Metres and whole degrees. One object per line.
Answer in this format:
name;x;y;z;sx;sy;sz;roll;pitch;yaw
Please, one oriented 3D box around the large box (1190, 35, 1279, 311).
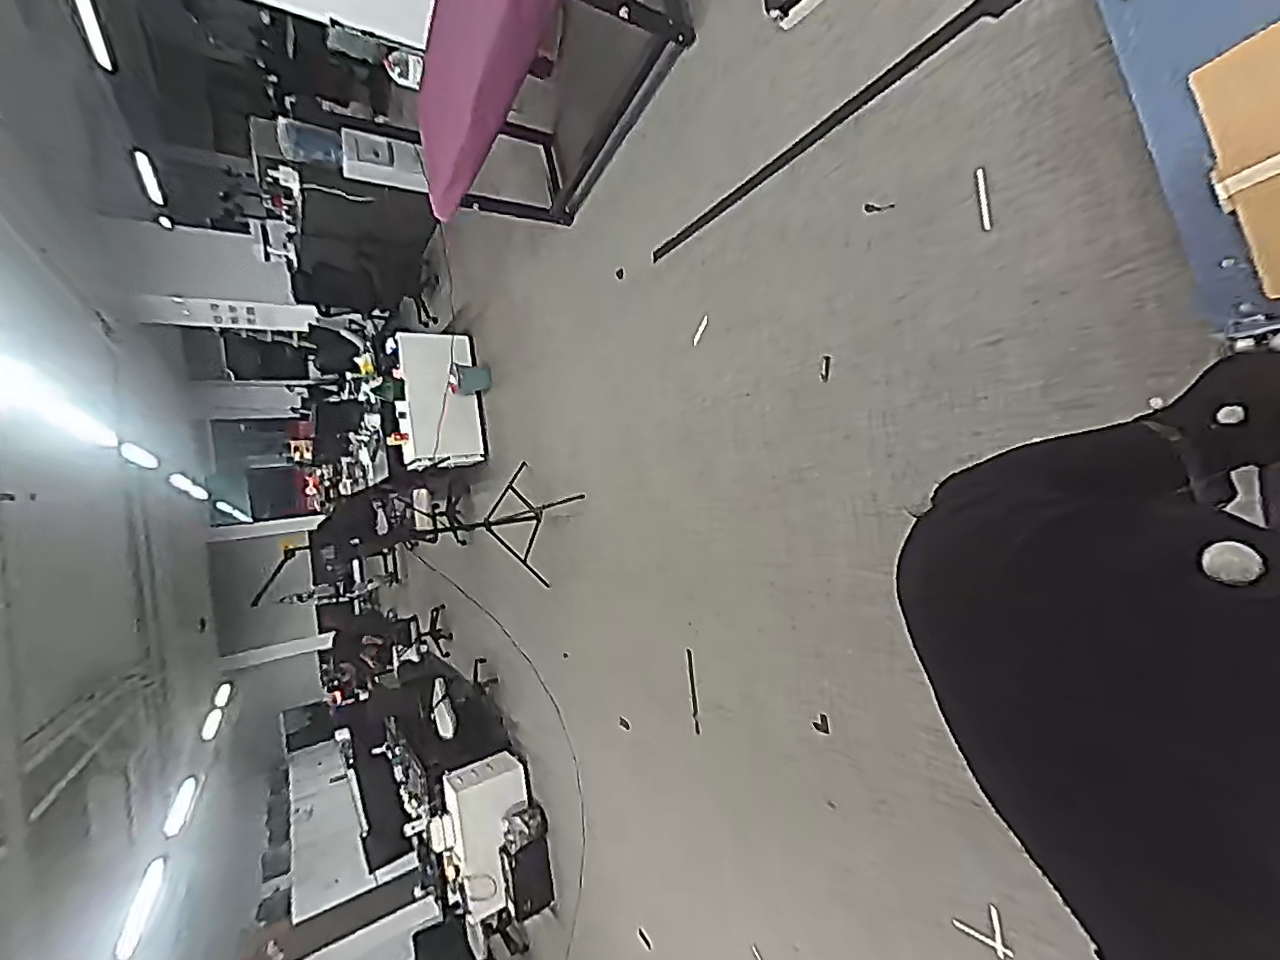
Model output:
large box;0.961;-0.417;0.600;0.408;0.320;0.320;-21;84;54
